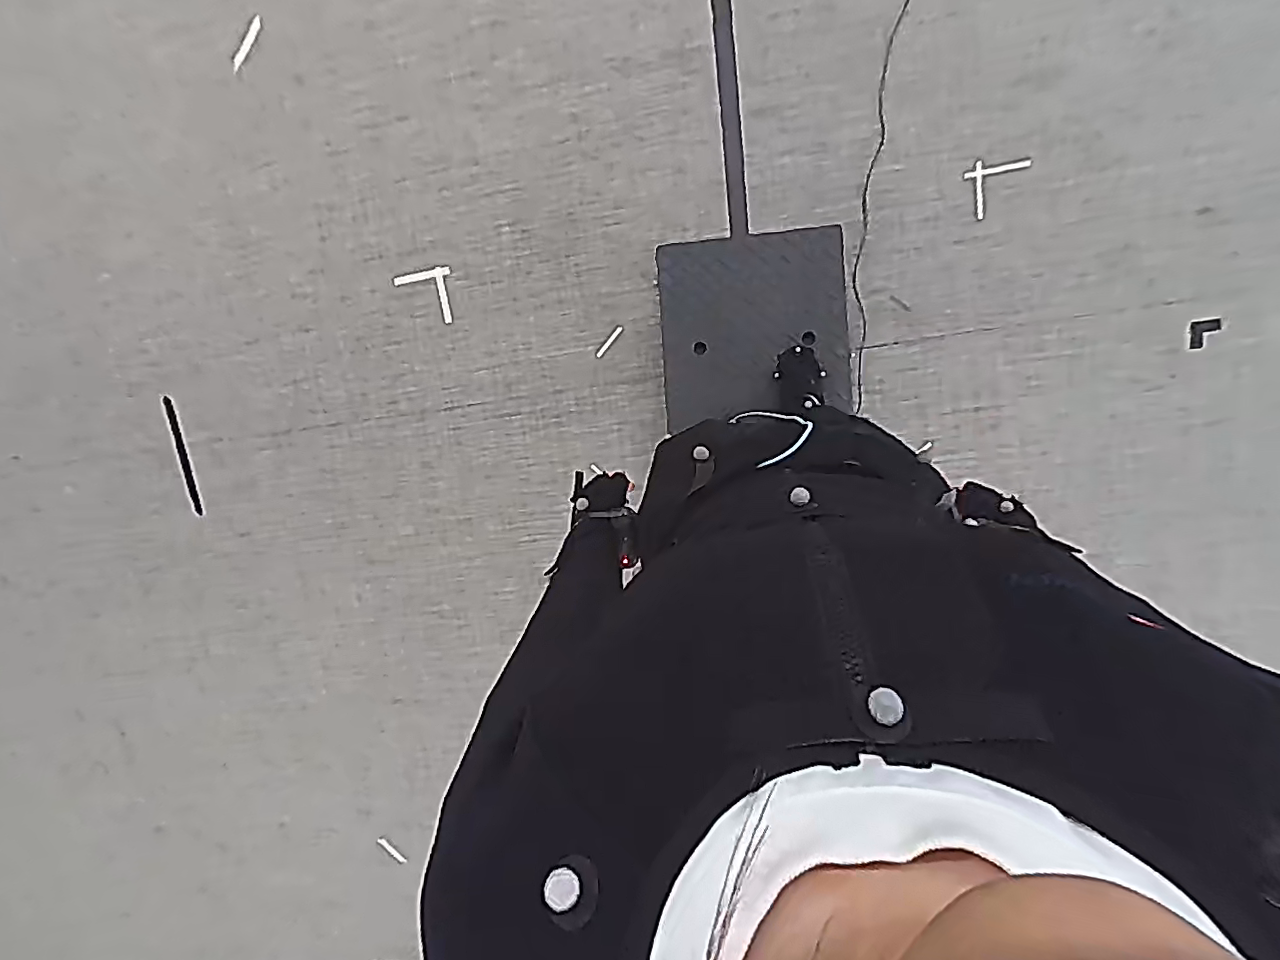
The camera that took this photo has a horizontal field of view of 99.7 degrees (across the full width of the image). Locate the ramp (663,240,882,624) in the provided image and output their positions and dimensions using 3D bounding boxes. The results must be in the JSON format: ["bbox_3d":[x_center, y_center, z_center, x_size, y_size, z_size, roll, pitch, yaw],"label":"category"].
[{"bbox_3d":[0.341,-0.125,1.454,0.509,0.206,0.991,-7,97,10],"label":"ramp"}]
